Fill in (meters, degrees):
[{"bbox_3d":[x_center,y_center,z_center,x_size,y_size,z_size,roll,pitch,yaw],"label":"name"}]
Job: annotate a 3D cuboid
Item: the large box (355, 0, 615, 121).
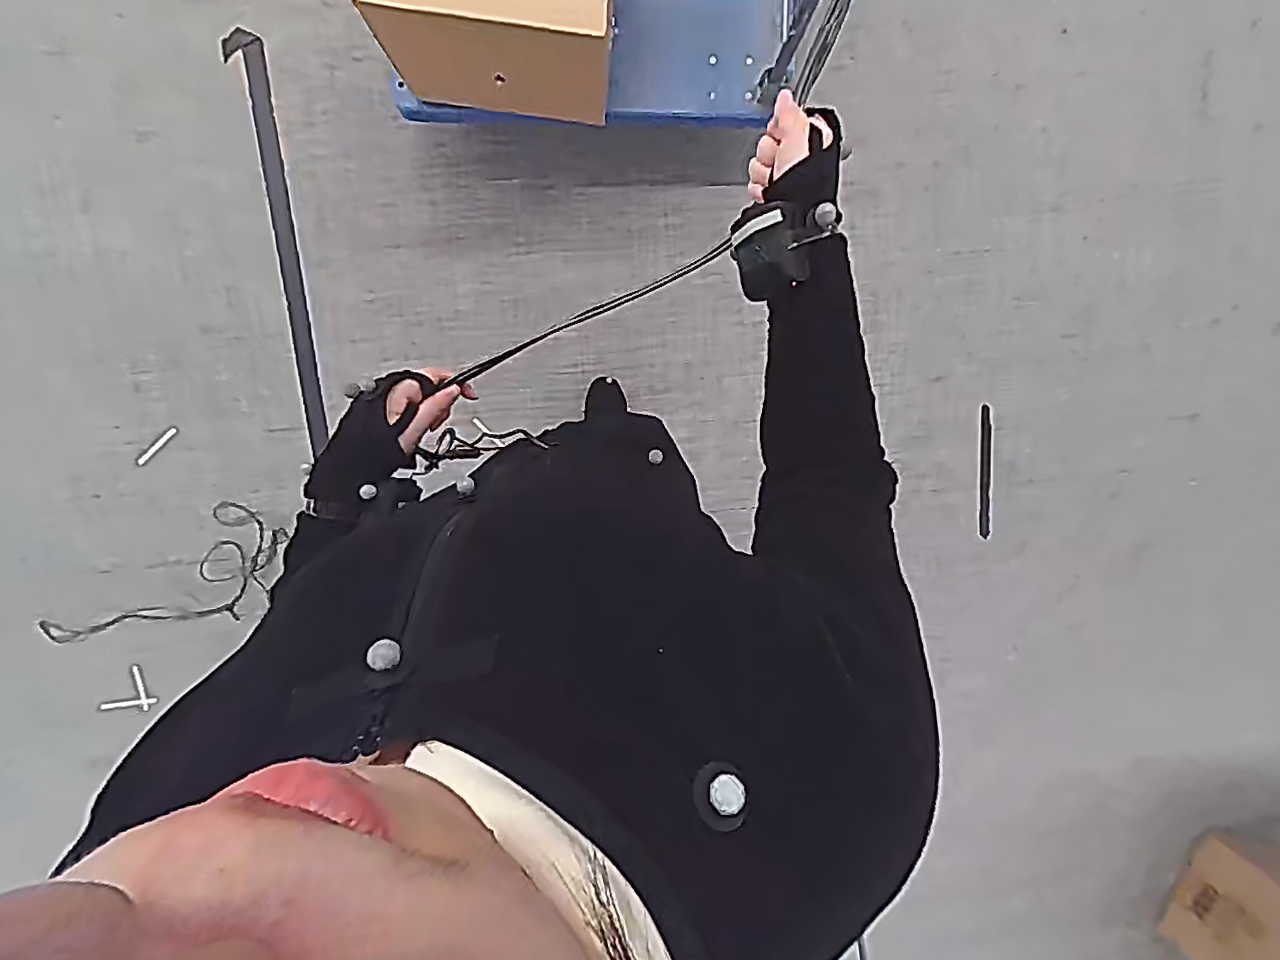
[{"bbox_3d":[-0.246,-0.905,0.982,0.408,0.320,0.320,4,99,-4],"label":"large box"}]
